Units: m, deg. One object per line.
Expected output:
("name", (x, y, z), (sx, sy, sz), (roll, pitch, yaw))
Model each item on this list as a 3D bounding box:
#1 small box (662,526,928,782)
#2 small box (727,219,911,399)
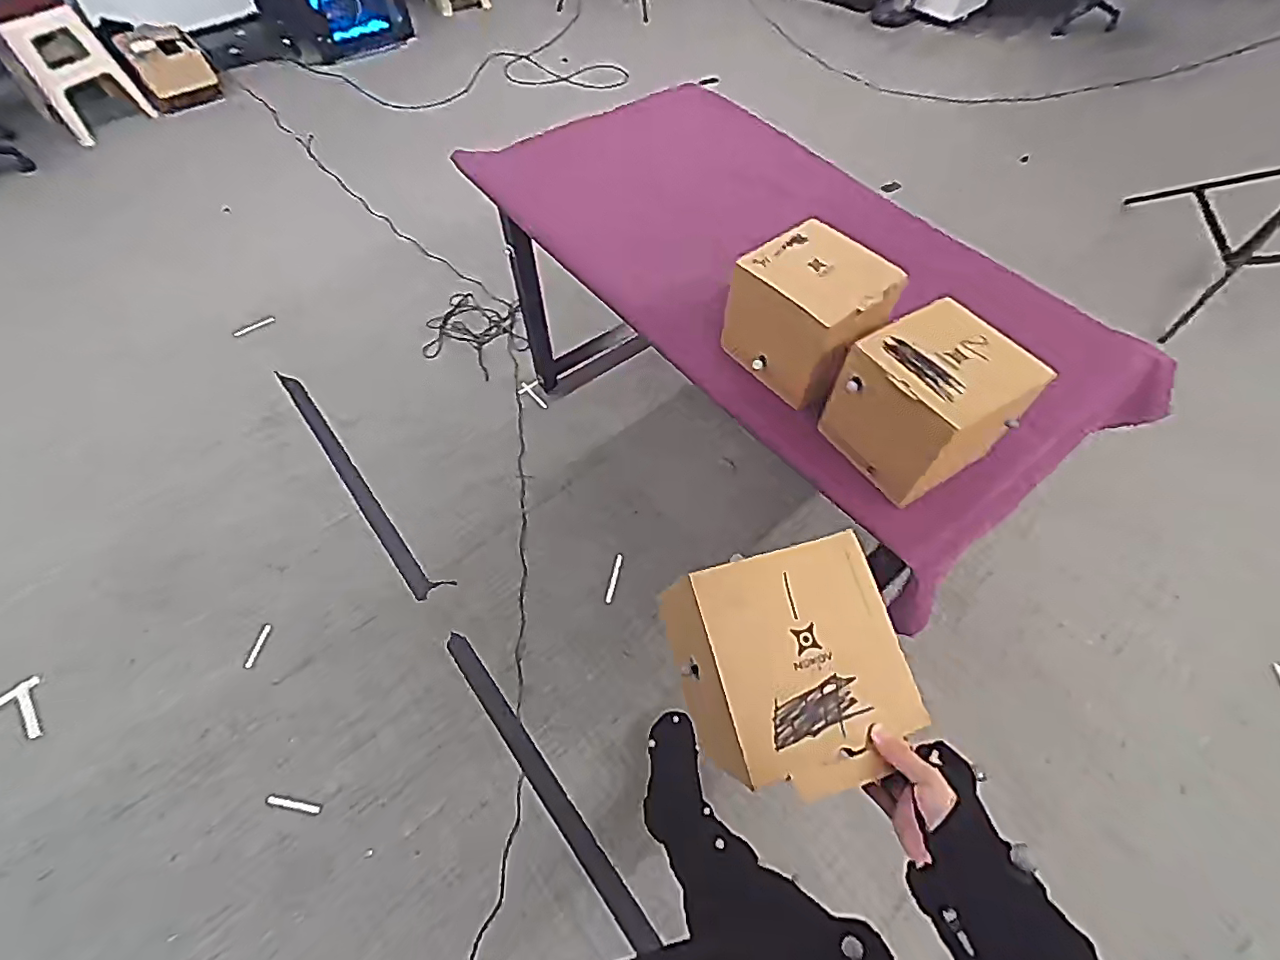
("small box", (0.131, 0.163, 0.531), (0.168, 0.176, 0.179), (-13, 73, -12))
("small box", (0.253, -0.245, 0.809), (0.168, 0.176, 0.179), (-34, 65, -19))
